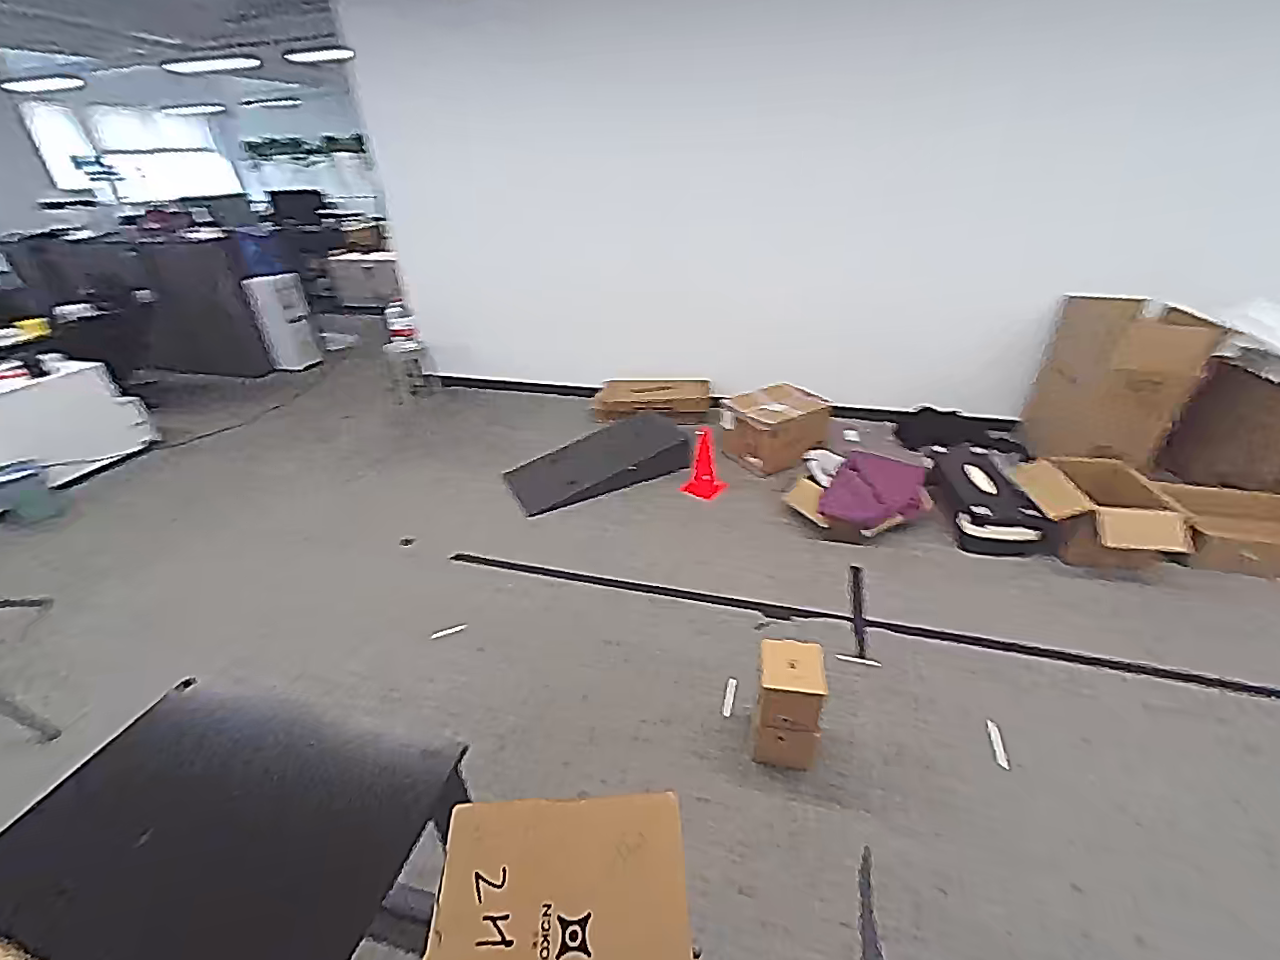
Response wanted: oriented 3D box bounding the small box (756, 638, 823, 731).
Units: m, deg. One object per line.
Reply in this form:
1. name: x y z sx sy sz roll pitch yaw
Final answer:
1. small box: 0.419 0.582 1.543 0.168 0.176 0.179 2 32 10

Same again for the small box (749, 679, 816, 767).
1. small box: 0.423 0.727 1.617 0.179 0.176 0.168 5 32 12

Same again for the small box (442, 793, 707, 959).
1. small box: -0.045 0.360 0.419 0.179 0.176 0.168 -2 44 -2
